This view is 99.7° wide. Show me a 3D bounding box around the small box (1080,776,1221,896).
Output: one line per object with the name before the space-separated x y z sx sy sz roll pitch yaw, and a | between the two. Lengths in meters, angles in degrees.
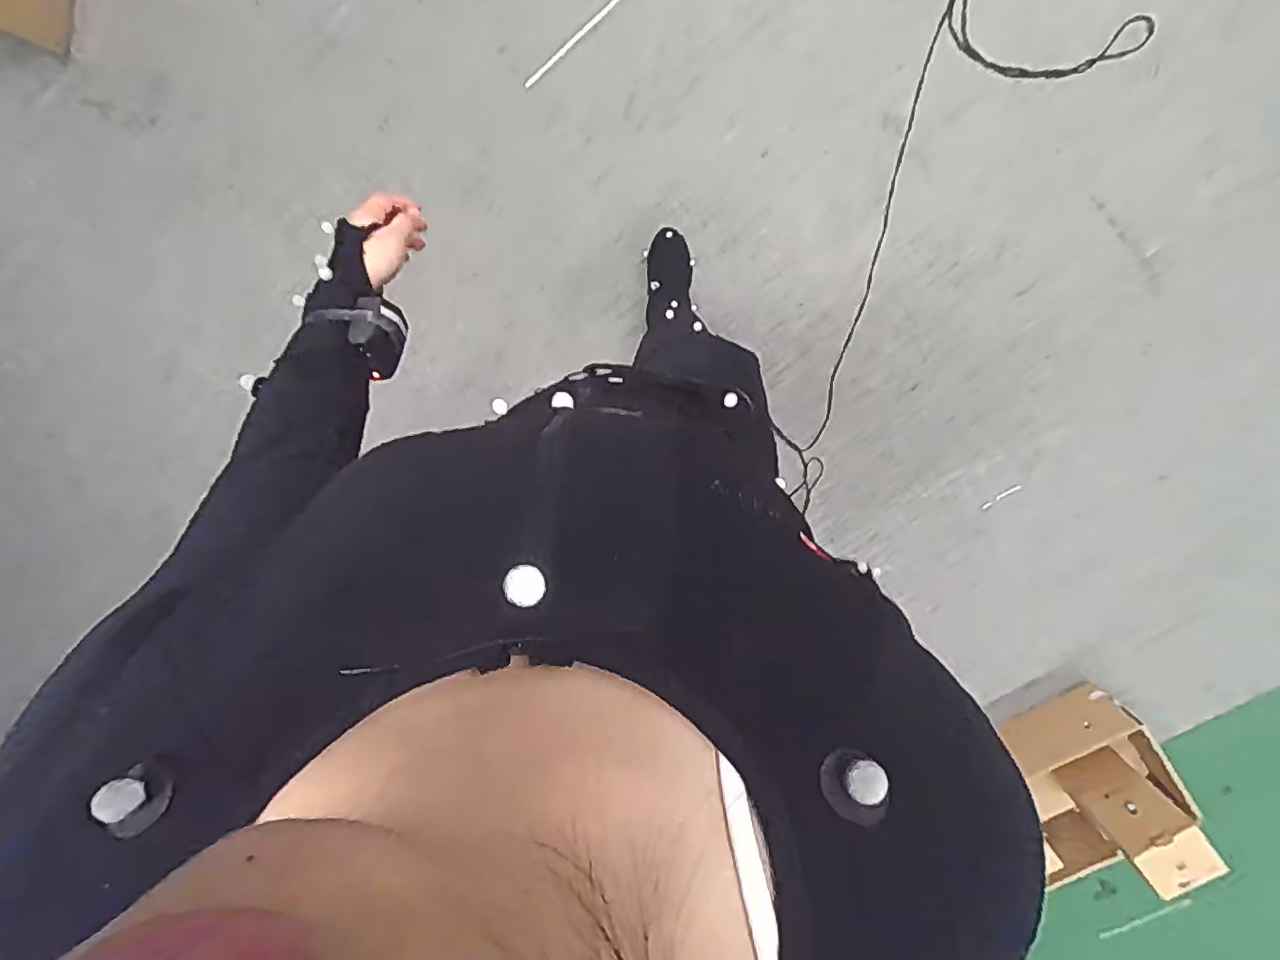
small box | 1.295 0.898 1.385 0.168 0.176 0.179 -38 100 12
